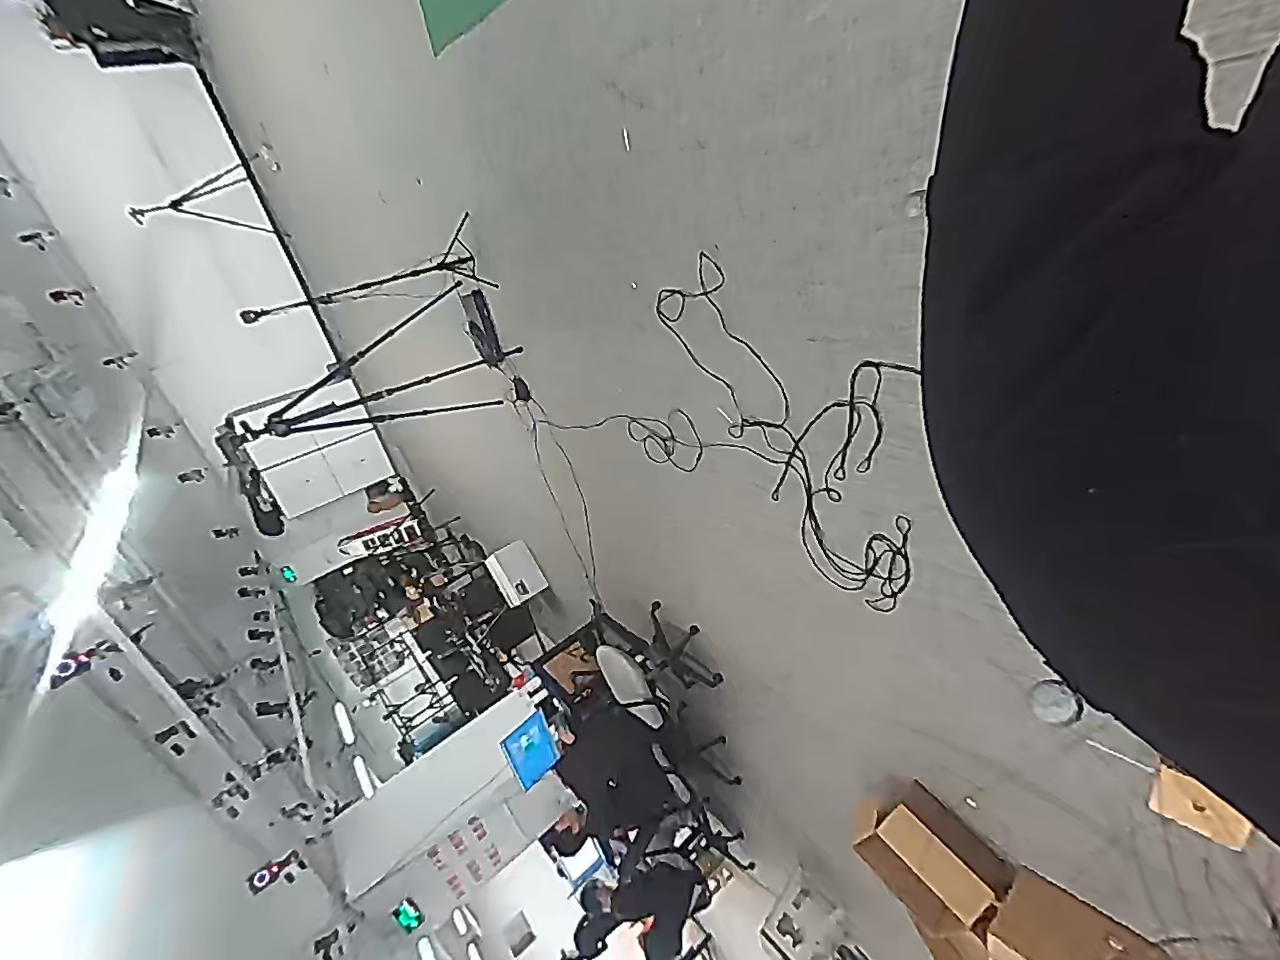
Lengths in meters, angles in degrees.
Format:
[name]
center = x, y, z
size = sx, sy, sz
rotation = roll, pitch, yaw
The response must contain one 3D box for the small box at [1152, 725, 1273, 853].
[small box]
center = 1.411, 0.753, 1.335
size = 0.168, 0.176, 0.179
rotation = 18, 129, 50
